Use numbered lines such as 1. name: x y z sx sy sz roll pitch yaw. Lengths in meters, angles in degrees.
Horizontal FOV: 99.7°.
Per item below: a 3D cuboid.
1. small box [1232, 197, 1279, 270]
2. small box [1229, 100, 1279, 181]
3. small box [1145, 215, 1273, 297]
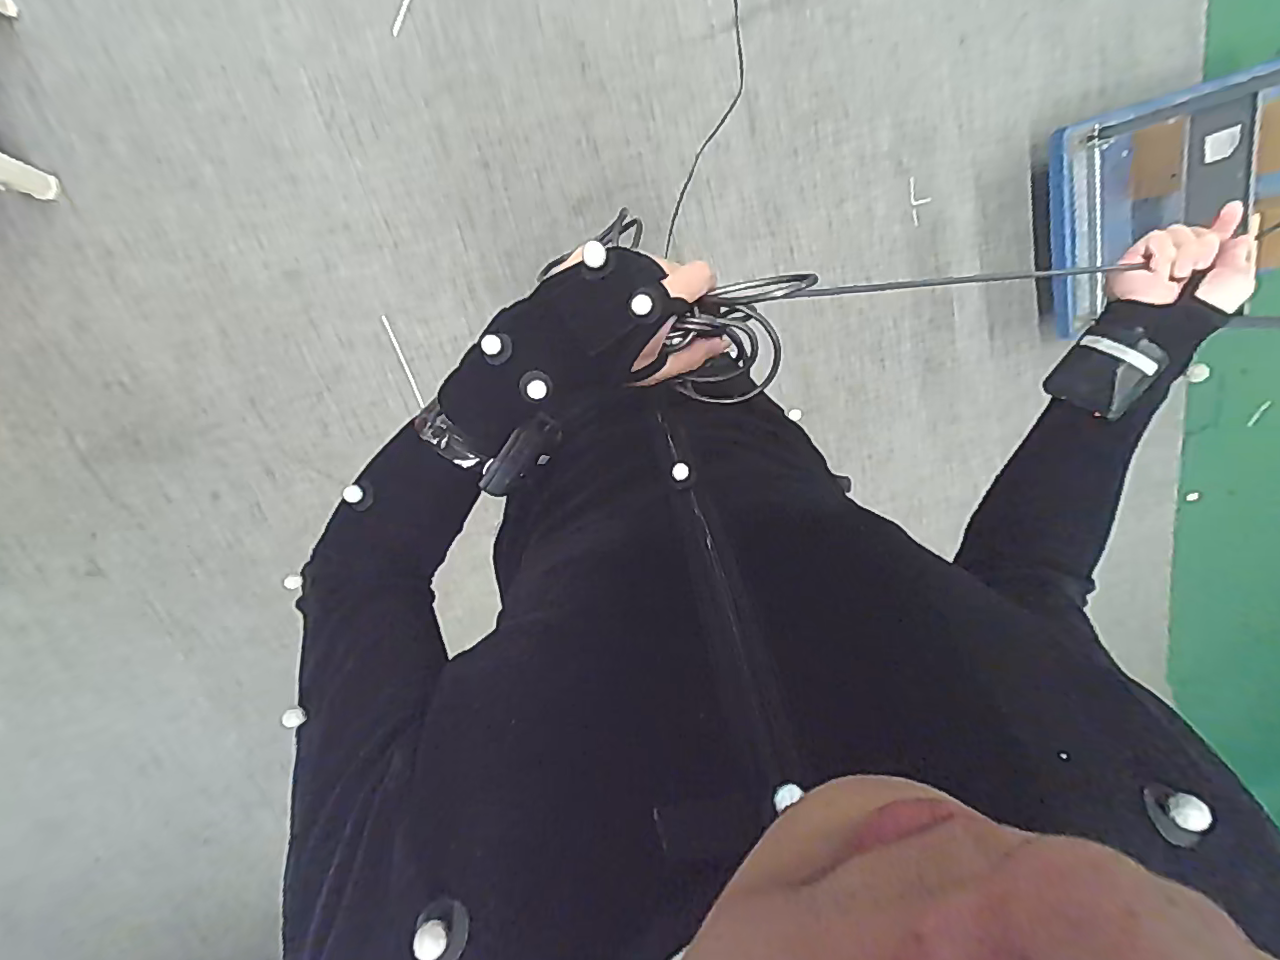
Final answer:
1. small box: 1.802 -0.692 1.498 0.179 0.176 0.168 -22 108 -2
2. small box: 1.714 -0.914 1.419 0.179 0.176 0.168 -22 109 -3
3. small box: 1.546 -0.606 1.478 0.179 0.176 0.168 -17 108 -4
